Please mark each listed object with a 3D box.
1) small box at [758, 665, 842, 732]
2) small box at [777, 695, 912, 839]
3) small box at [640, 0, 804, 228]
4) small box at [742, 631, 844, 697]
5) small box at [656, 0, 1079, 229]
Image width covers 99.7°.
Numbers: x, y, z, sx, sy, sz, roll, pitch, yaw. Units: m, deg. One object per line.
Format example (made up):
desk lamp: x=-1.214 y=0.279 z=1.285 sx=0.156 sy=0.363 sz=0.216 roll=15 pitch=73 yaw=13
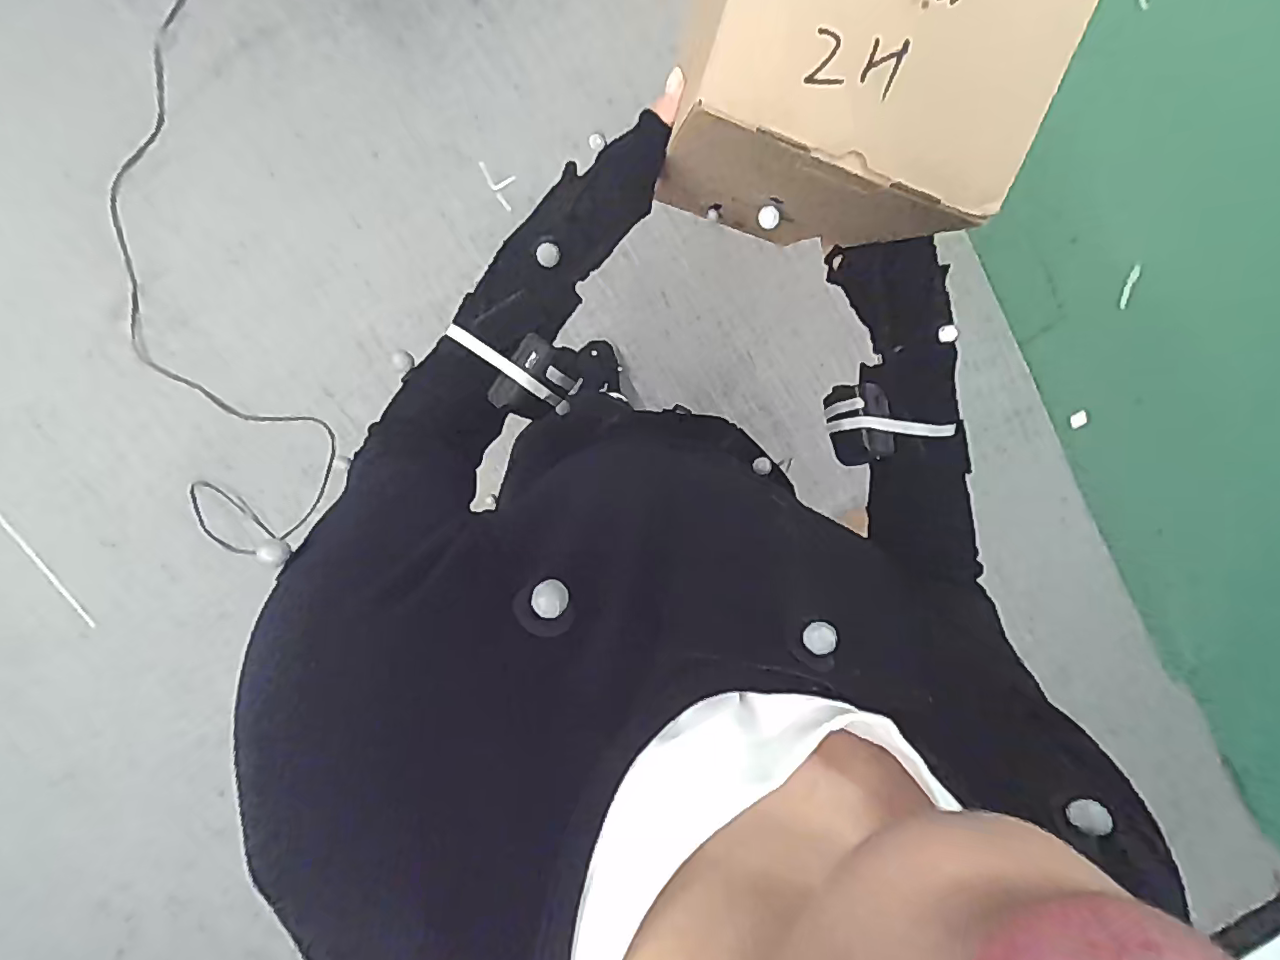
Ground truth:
small box: x=0.401 y=0.561 z=1.262 sx=0.168 sy=0.176 sz=0.179 roll=-33 pitch=99 yaw=0
small box: x=0.410 y=0.574 z=1.116 sx=0.168 sy=0.176 sz=0.179 roll=-32 pitch=99 yaw=1
small box: x=0.104 y=-0.334 z=0.460 sx=0.168 sy=0.176 sz=0.179 roll=13 pitch=108 yaw=-11
small box: x=0.398 y=0.527 z=1.441 sx=0.168 sy=0.176 sz=0.179 roll=-38 pitch=100 yaw=0
small box: x=0.115 y=-0.265 z=0.310 sx=0.168 sy=0.176 sz=0.179 roll=14 pitch=108 yaw=-11
